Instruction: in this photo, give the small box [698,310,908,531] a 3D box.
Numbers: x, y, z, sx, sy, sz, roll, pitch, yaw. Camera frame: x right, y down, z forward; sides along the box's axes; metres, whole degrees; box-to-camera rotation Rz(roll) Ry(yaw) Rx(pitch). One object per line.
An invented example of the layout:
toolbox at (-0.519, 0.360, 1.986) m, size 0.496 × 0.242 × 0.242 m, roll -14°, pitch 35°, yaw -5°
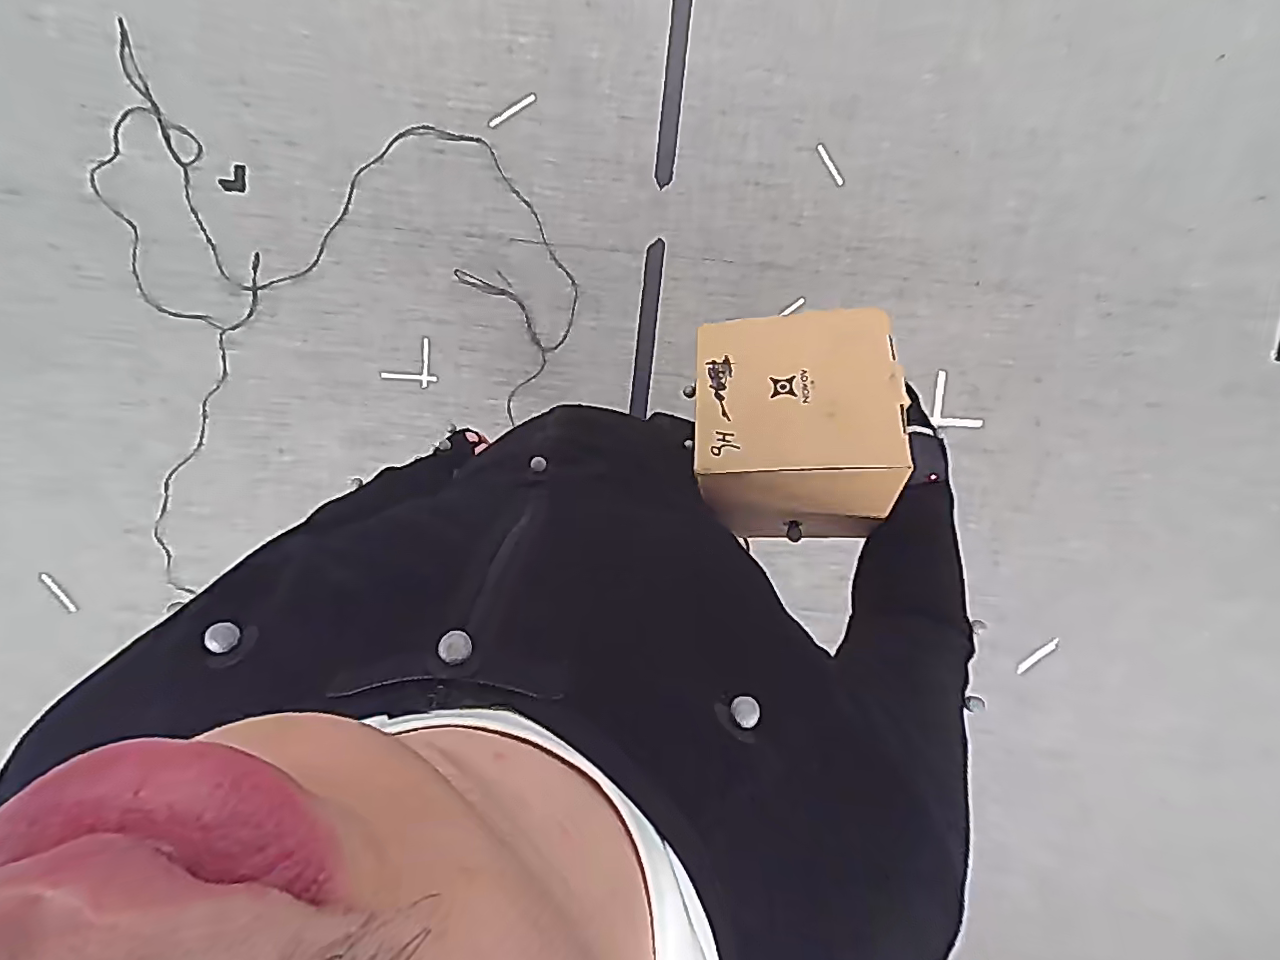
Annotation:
small box at (0.157, -0.051, 0.564) m, size 0.179 × 0.176 × 0.168 m, roll -1°, pitch 64°, yaw 12°
